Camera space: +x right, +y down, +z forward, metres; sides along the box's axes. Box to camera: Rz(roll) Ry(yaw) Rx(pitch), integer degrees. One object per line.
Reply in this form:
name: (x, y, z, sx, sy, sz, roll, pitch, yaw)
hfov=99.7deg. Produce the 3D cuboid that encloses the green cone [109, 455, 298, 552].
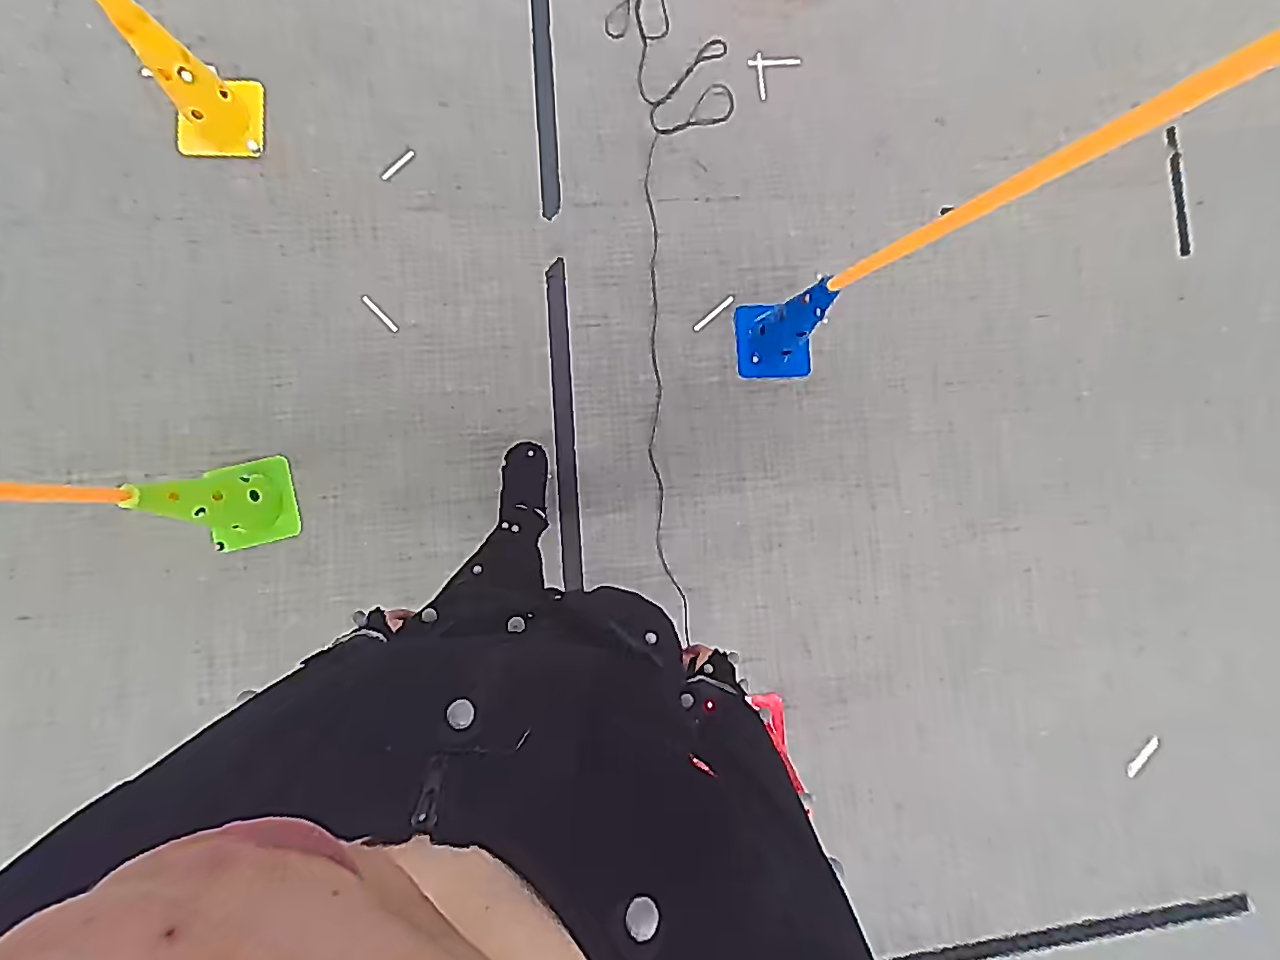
green cone: (-0.914, 0.036, 1.117, 0.200, 0.368, 0.202, -15, 85, -7)

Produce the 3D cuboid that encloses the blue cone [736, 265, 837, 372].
blue cone: (0.370, -0.395, 1.282, 0.193, 0.380, 0.192, -1, 85, -6)
